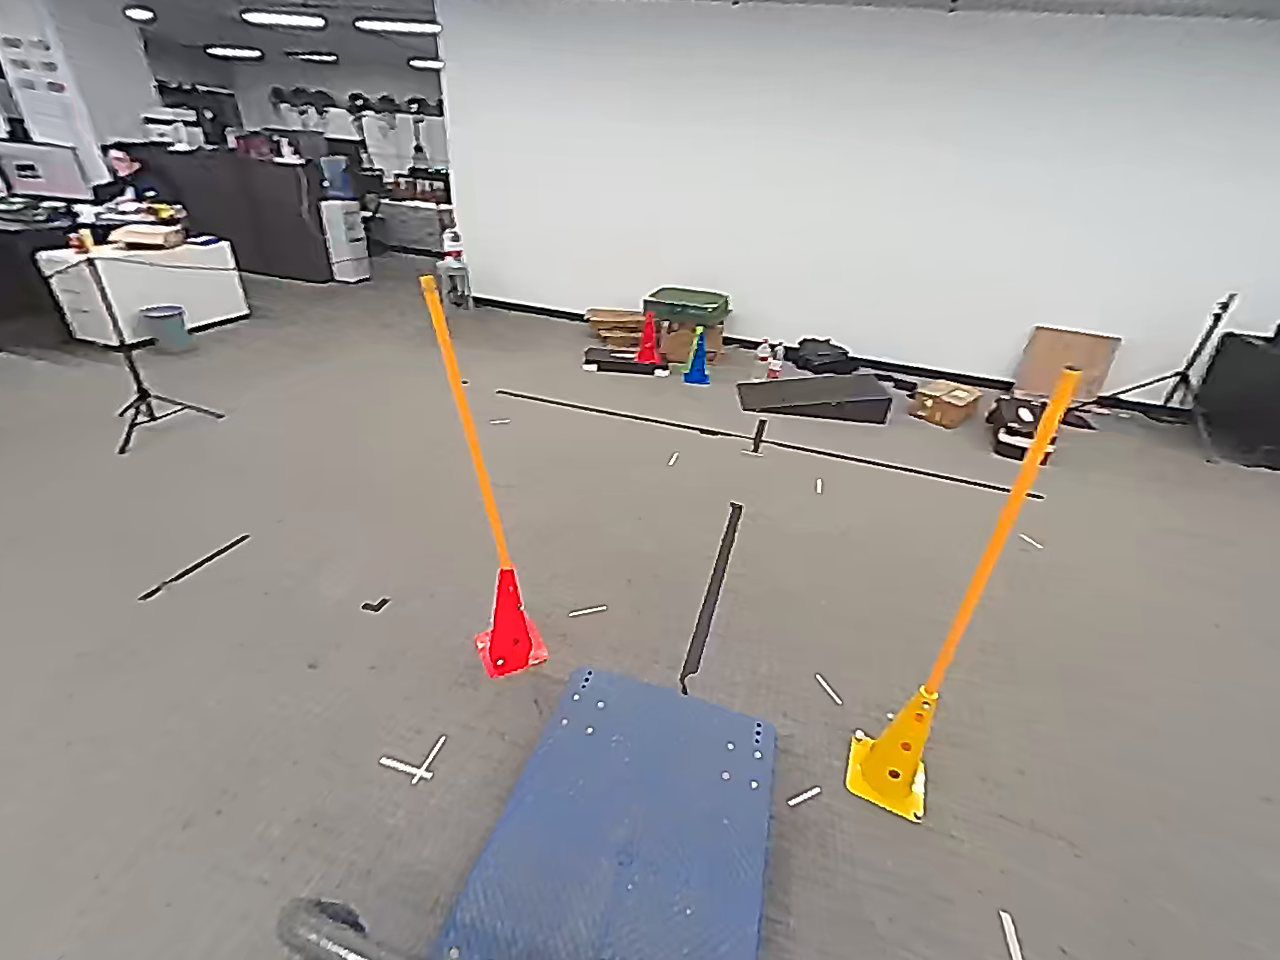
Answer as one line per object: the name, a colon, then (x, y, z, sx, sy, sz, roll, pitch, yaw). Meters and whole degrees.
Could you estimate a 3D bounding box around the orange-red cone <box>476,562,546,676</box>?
orange-red cone: (-0.412, 0.407, 1.710, 0.199, 0.360, 0.198, -10, 35, -27)
